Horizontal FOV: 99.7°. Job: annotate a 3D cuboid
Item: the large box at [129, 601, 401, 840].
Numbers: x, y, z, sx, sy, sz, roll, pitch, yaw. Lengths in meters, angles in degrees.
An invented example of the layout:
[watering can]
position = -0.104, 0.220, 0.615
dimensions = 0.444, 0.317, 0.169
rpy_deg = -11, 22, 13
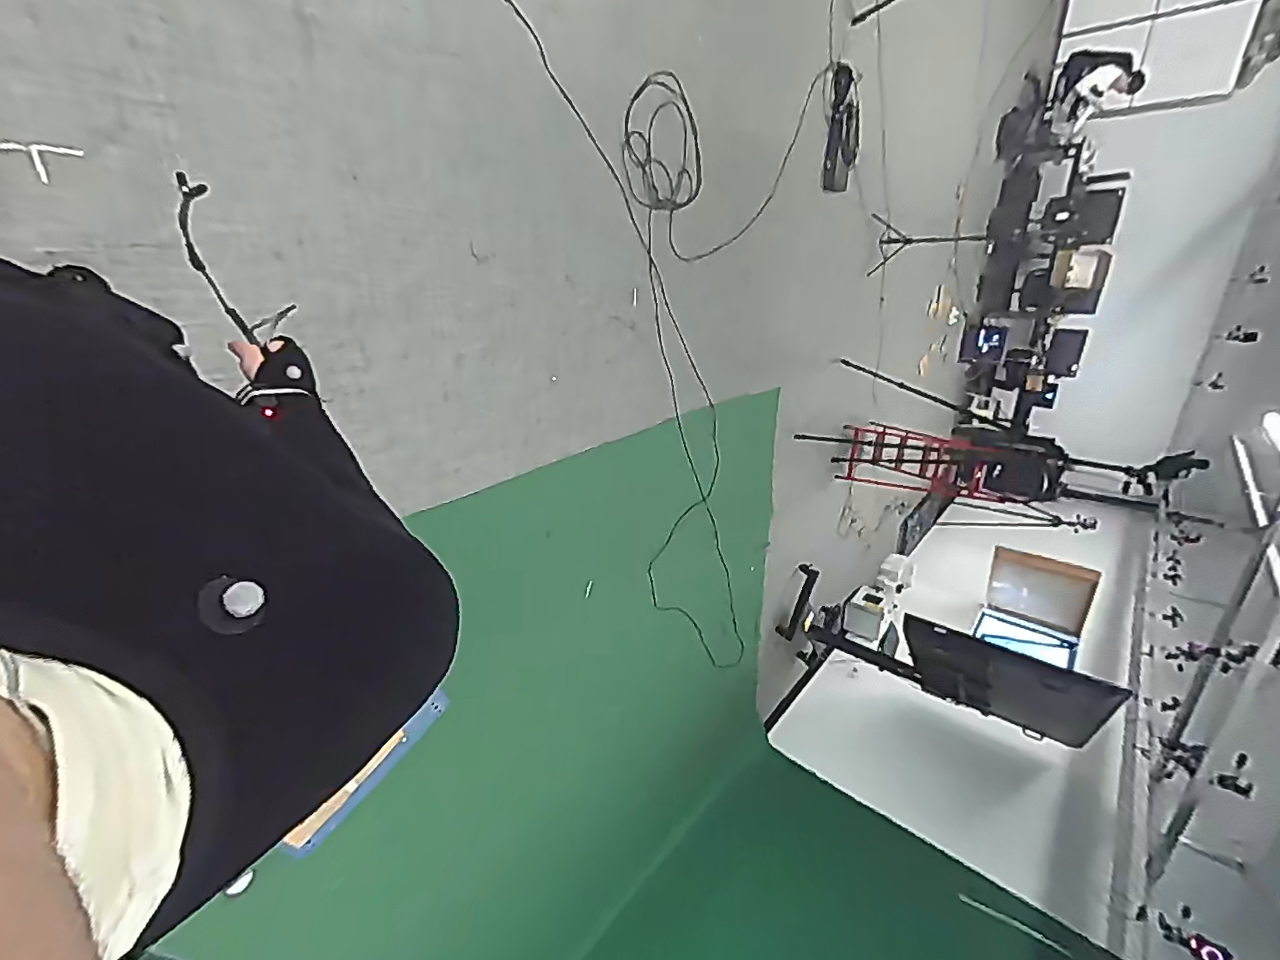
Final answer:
[large box]
position = -0.881, 0.567, 1.303
dimensions = 0.320, 0.320, 0.408
rpy_deg = -46, 136, -30
